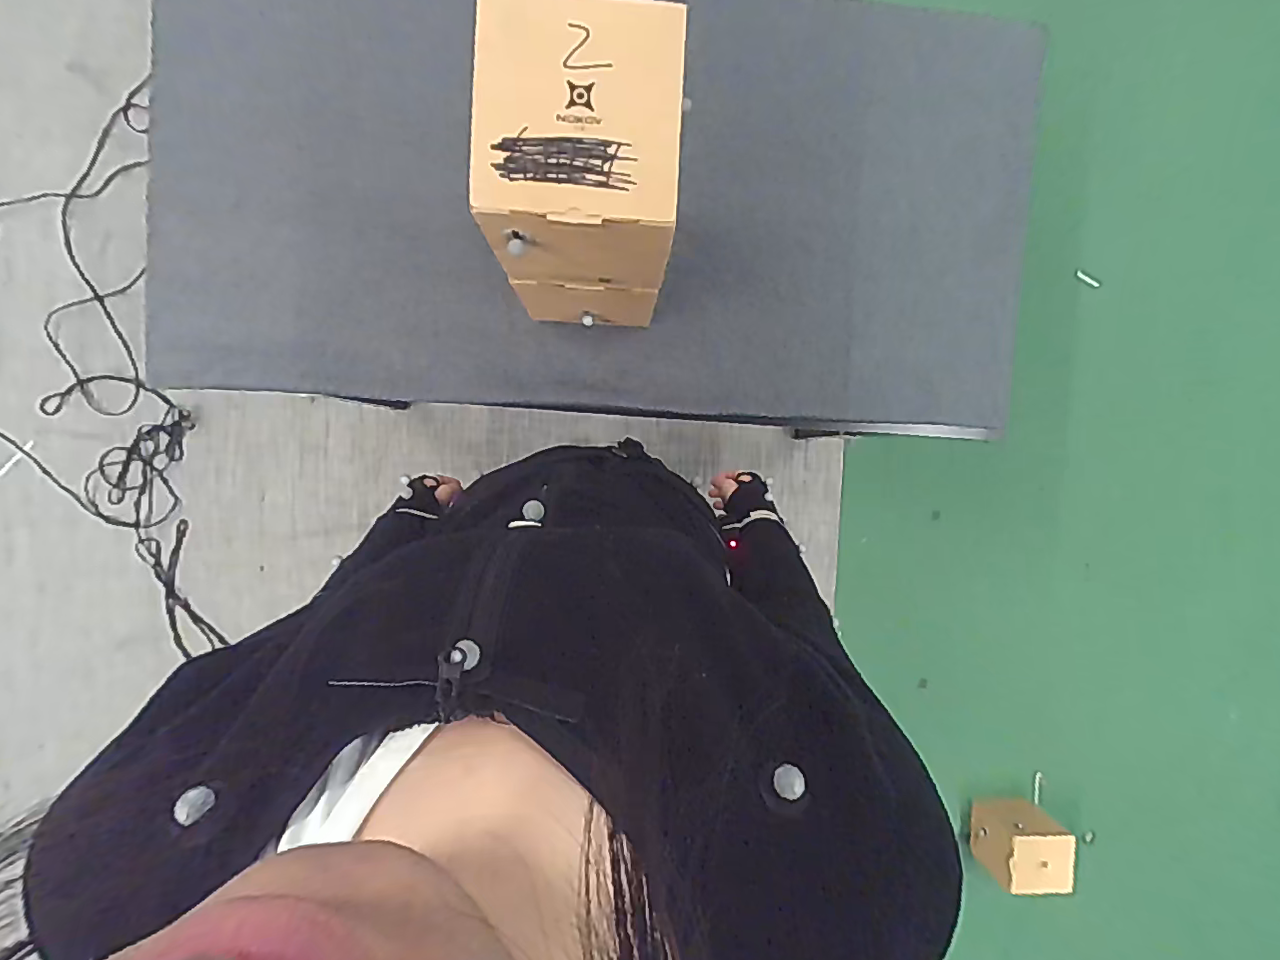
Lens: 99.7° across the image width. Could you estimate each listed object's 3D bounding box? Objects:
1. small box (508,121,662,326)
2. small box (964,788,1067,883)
[{"bbox_3d":[-0.066,-0.304,0.675,0.168,0.176,0.179,2,93,-3],"label":"small box"},{"bbox_3d":[1.079,1.020,1.562,0.179,0.176,0.168,0,94,-4],"label":"small box"}]
